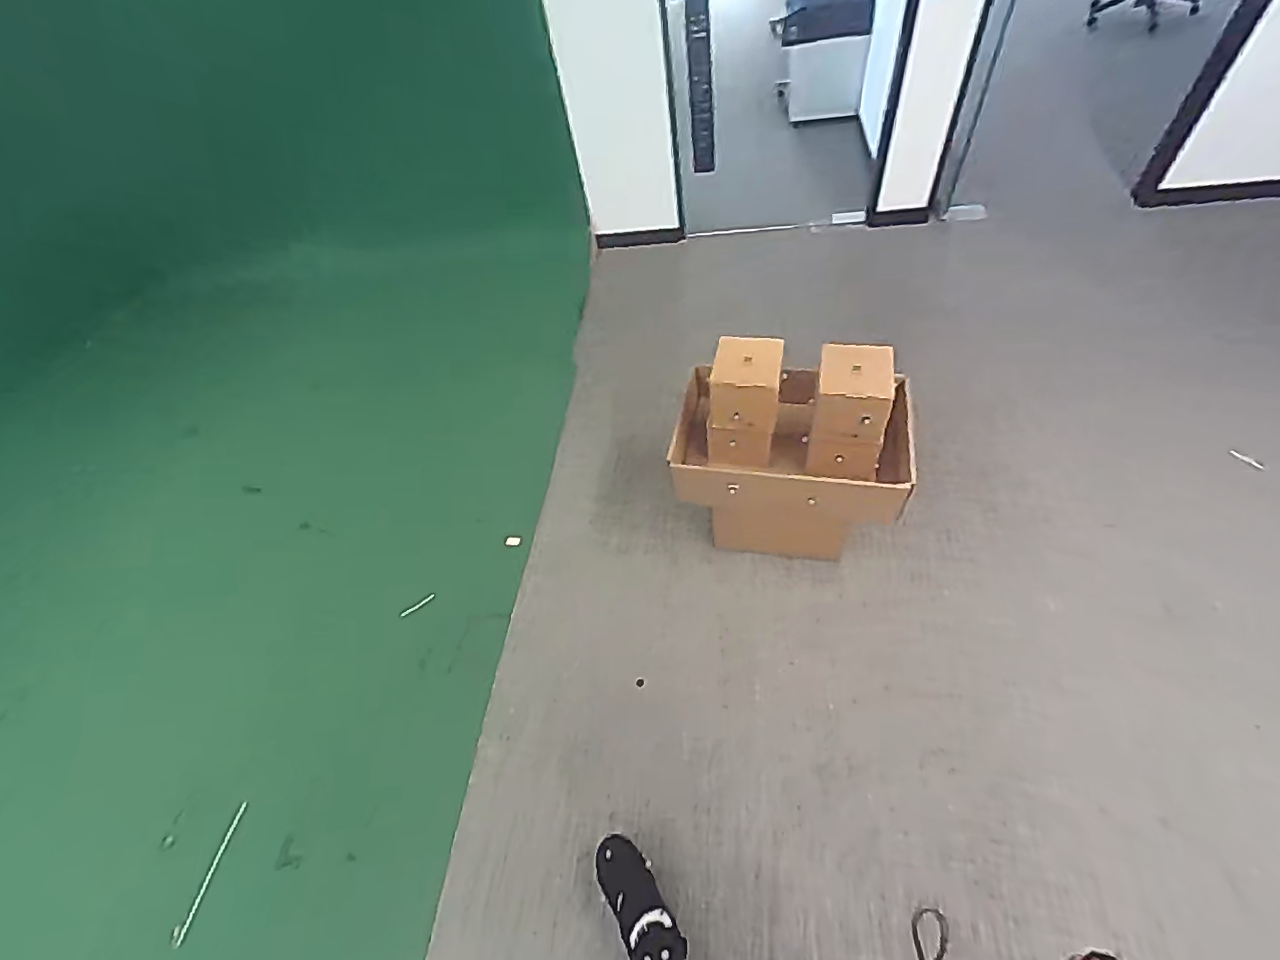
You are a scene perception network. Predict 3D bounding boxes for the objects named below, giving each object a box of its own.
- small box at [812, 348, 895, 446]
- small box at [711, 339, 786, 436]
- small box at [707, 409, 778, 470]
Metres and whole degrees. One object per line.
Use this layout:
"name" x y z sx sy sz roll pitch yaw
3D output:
"small box" 0.523 -0.202 1.334 0.168 0.176 0.179 7 54 14
"small box" 0.280 -0.240 1.408 0.168 0.176 0.179 7 55 14
"small box" 0.294 -0.146 1.541 0.179 0.176 0.168 8 55 14
